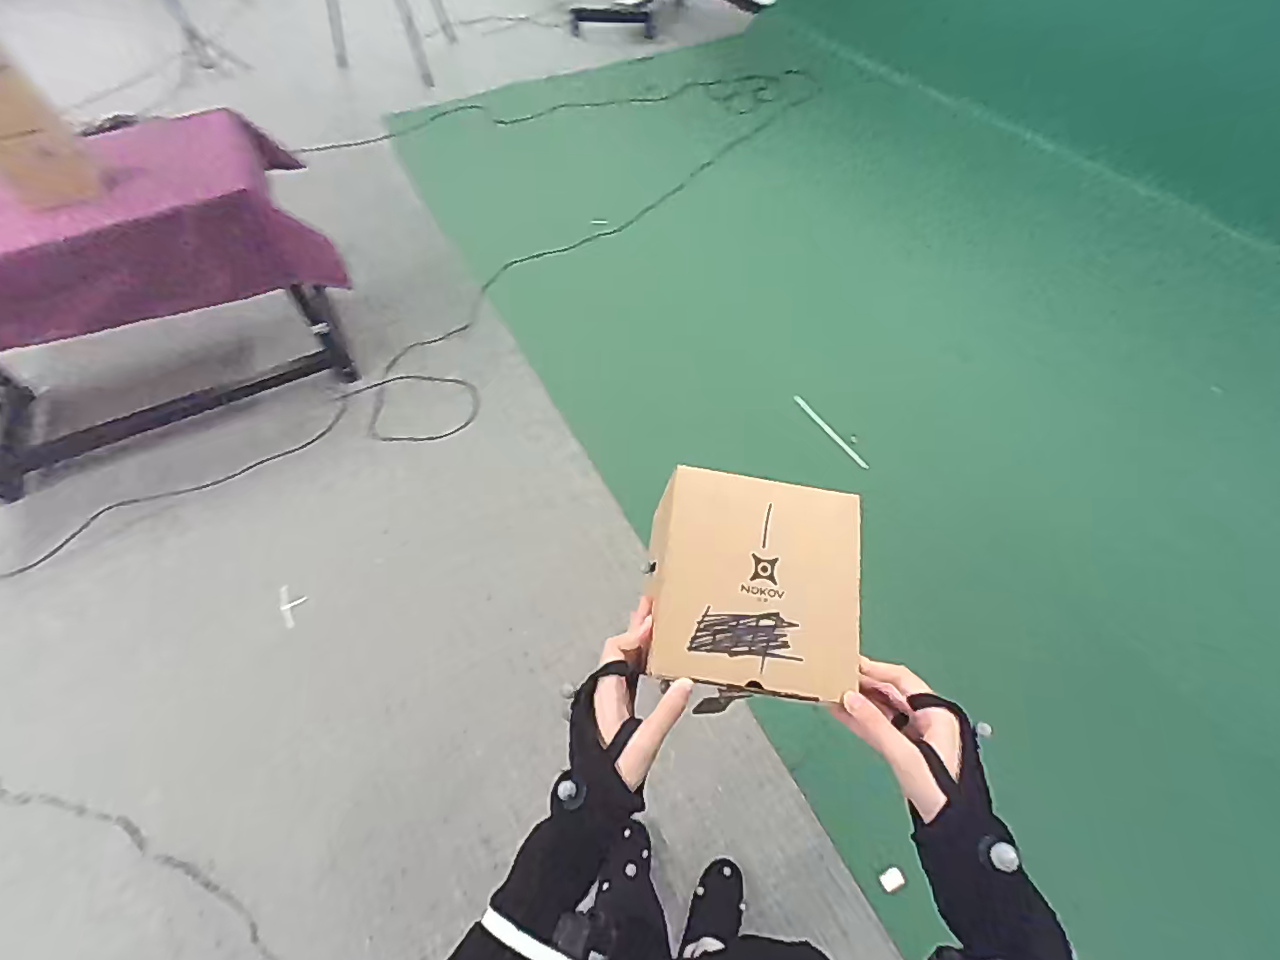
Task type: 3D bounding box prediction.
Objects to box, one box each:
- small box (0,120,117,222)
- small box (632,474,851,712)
[{"bbox_3d":[-1.566,-0.826,1.451,0.179,0.176,0.168,-23,57,-14],"label":"small box"},{"bbox_3d":[0.086,0.113,0.517,0.168,0.176,0.179,9,69,-3],"label":"small box"}]
